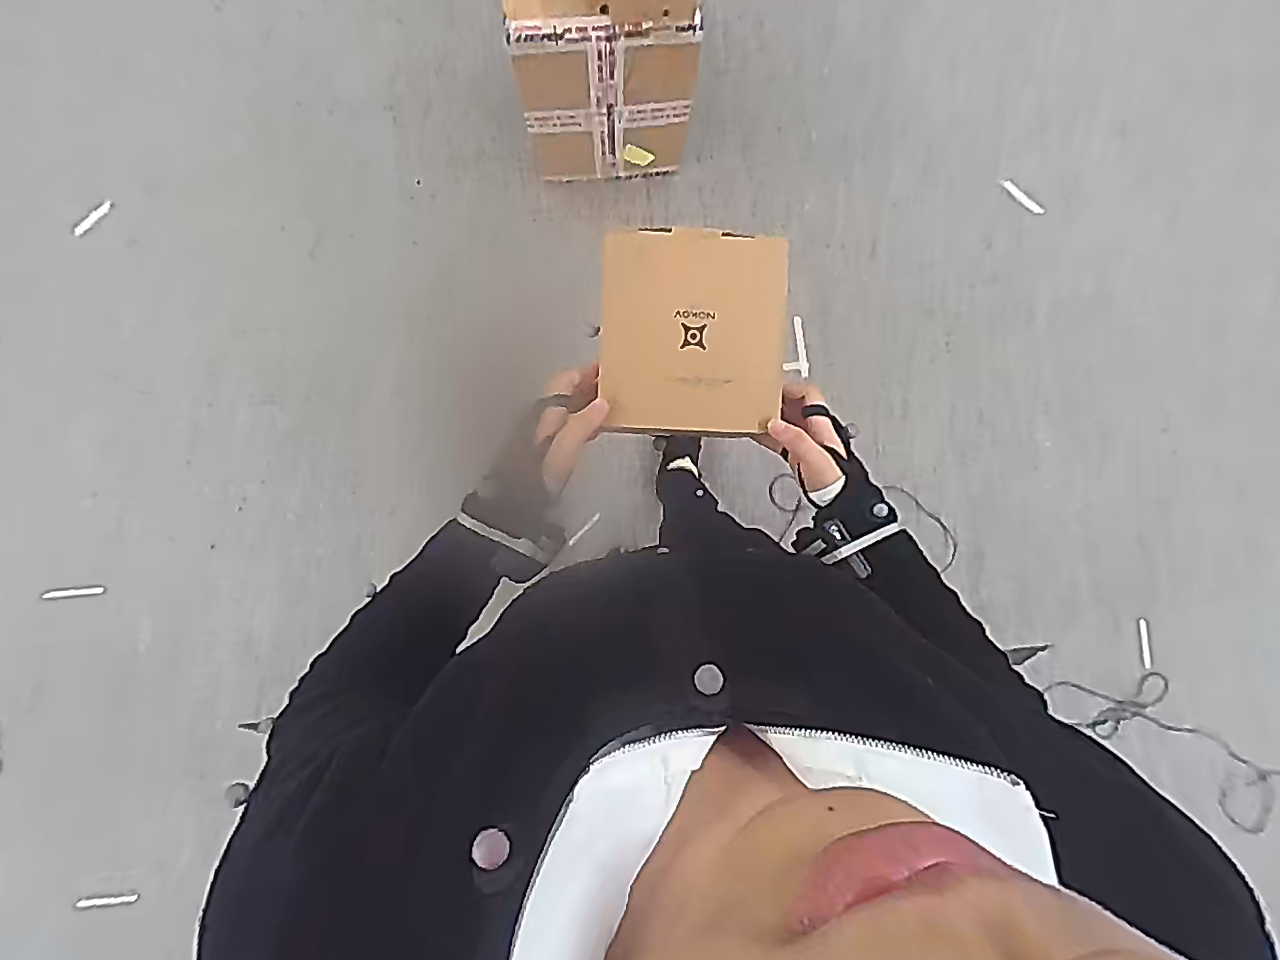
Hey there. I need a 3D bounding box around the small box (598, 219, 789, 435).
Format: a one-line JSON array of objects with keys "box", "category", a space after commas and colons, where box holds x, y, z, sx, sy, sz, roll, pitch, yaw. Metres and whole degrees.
[{"box": [0.042, -0.140, 0.556, 0.168, 0.176, 0.179, 2, 93, -4], "category": "small box"}]

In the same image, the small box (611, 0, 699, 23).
[{"box": [0.026, -0.971, 0.973, 0.168, 0.176, 0.179, -5, 90, -3], "category": "small box"}]
